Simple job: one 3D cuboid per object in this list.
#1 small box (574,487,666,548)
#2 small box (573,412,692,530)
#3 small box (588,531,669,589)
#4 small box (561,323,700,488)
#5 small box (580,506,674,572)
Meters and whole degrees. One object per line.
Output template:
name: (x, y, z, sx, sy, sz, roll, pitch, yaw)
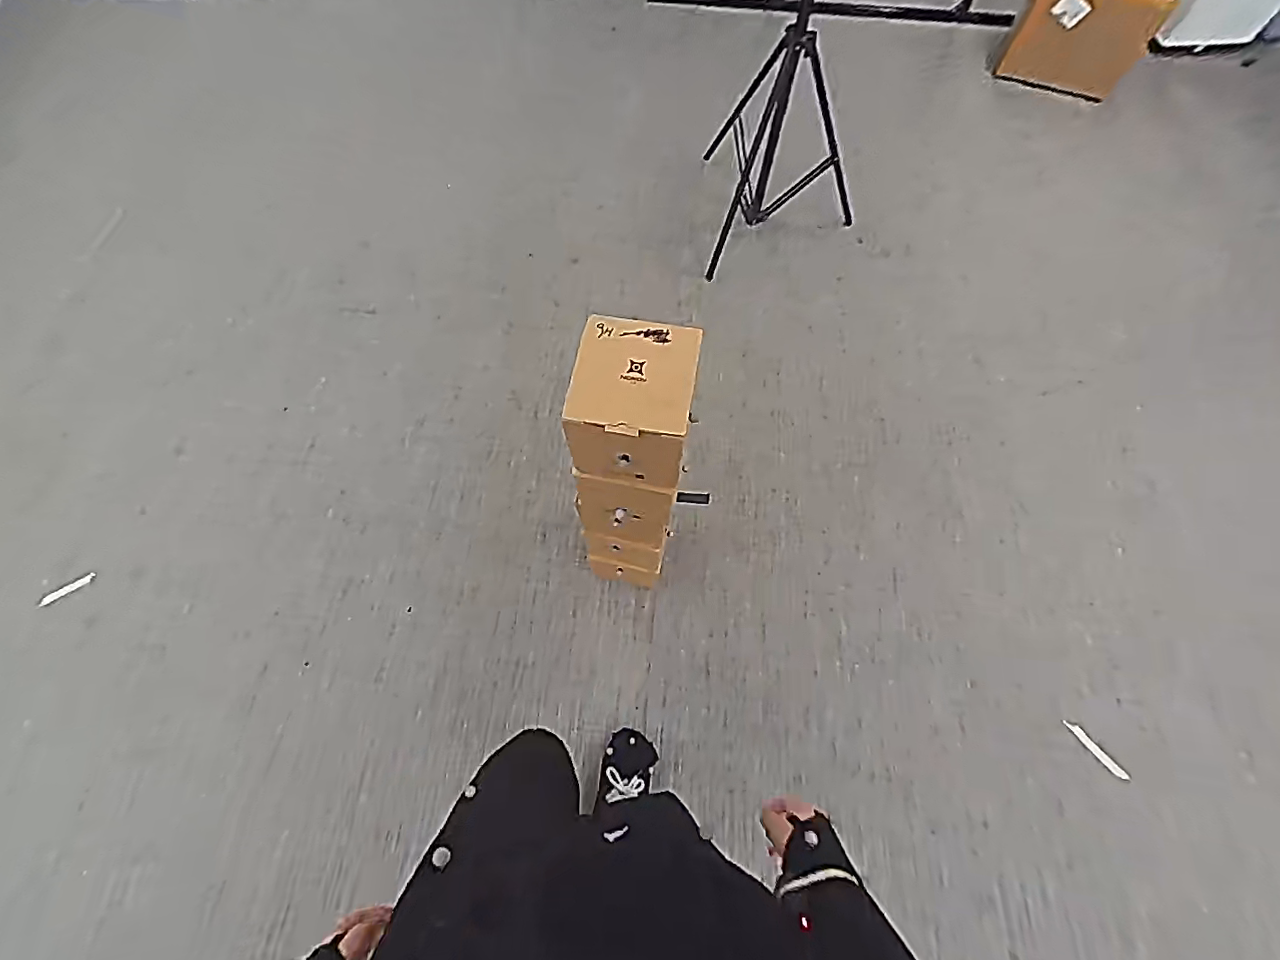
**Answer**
small box: (-0.023, 0.030, 1.105, 0.179, 0.176, 0.168, 12, 68, 4)
small box: (-0.010, -0.030, 0.952, 0.168, 0.176, 0.179, 11, 69, 6)
small box: (-0.026, 0.174, 1.398, 0.179, 0.176, 0.168, 12, 67, 5)
small box: (-0.008, -0.103, 0.805, 0.168, 0.176, 0.179, 9, 68, 4)
small box: (-0.024, 0.101, 1.251, 0.179, 0.176, 0.168, 15, 68, 6)
